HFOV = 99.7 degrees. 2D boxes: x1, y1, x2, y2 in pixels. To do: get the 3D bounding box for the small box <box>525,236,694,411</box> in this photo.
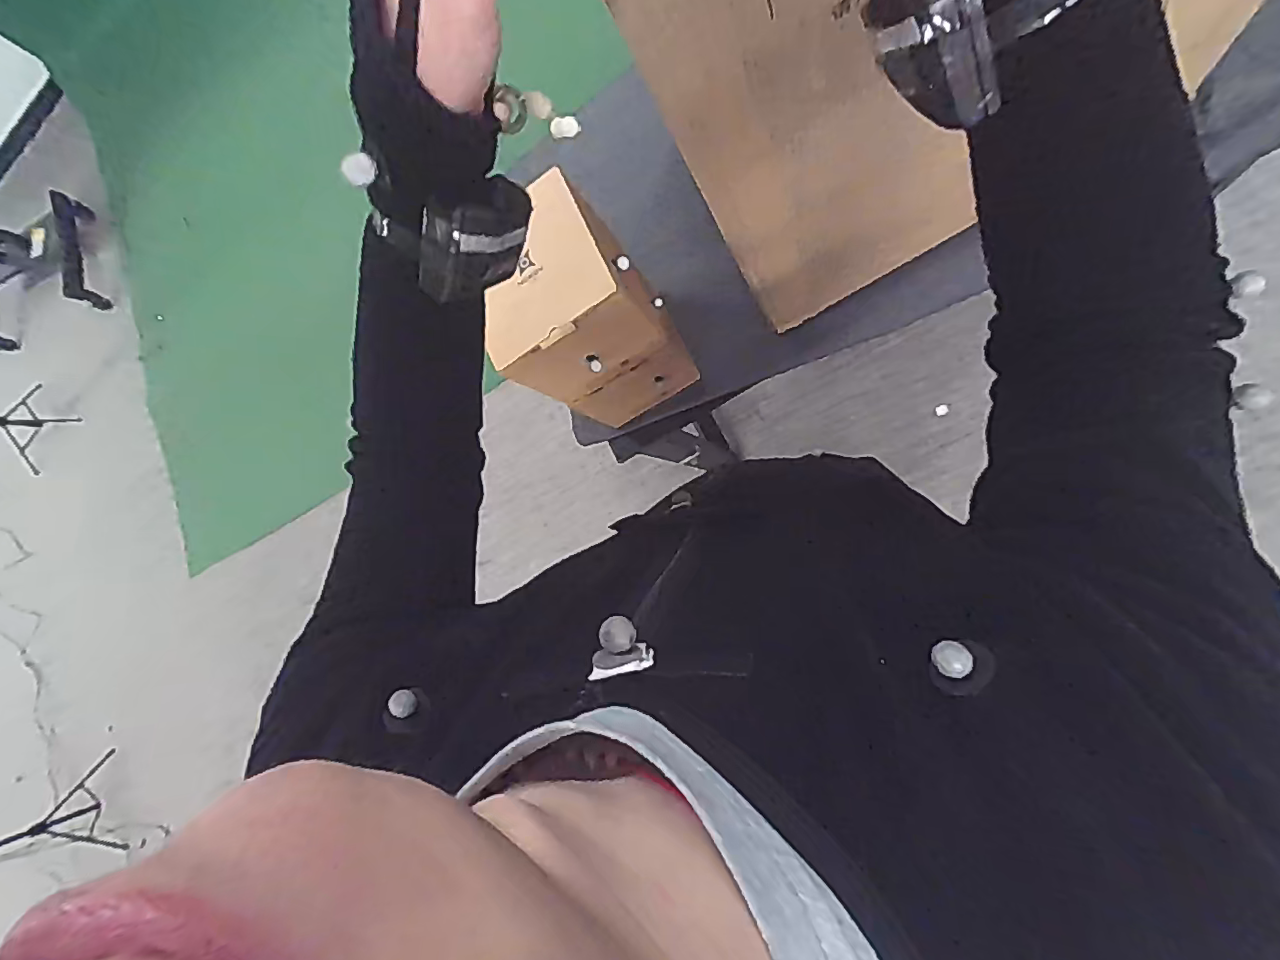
[{"bbox_3d":[-0.038,-0.218,0.818,0.168,0.176,0.179,-29,75,16],"label":"small box"}]
